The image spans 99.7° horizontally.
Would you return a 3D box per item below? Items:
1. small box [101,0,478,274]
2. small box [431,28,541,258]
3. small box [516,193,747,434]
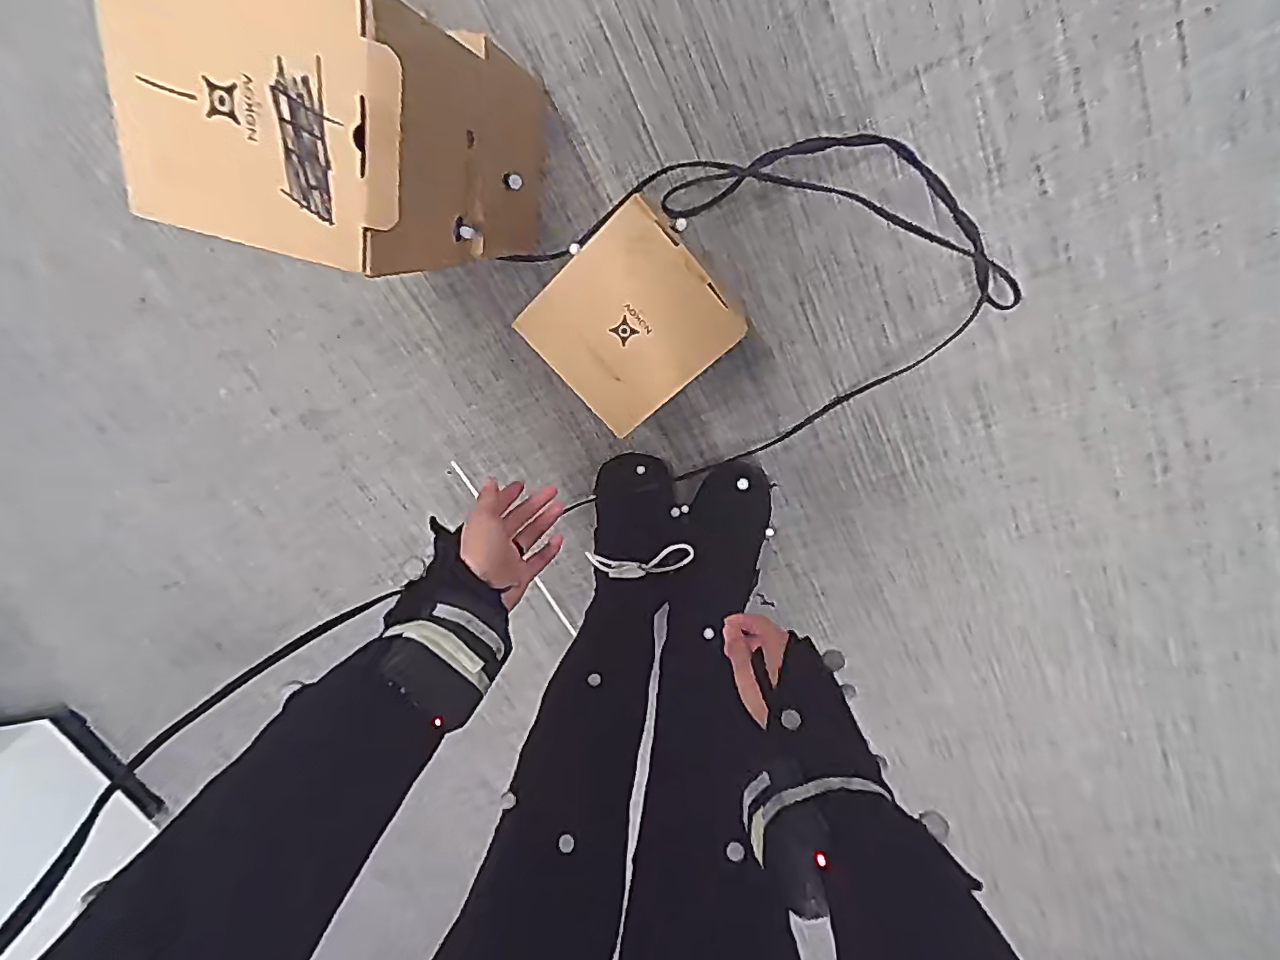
[{"bbox_3d":[-0.241,-0.269,0.414,0.179,0.176,0.168,15,115,2],"label":"small box"},{"bbox_3d":[-0.207,-0.340,0.560,0.168,0.176,0.179,10,116,4],"label":"small box"},{"bbox_3d":[-0.003,-0.187,0.605,0.179,0.176,0.168,-39,104,22],"label":"small box"}]
